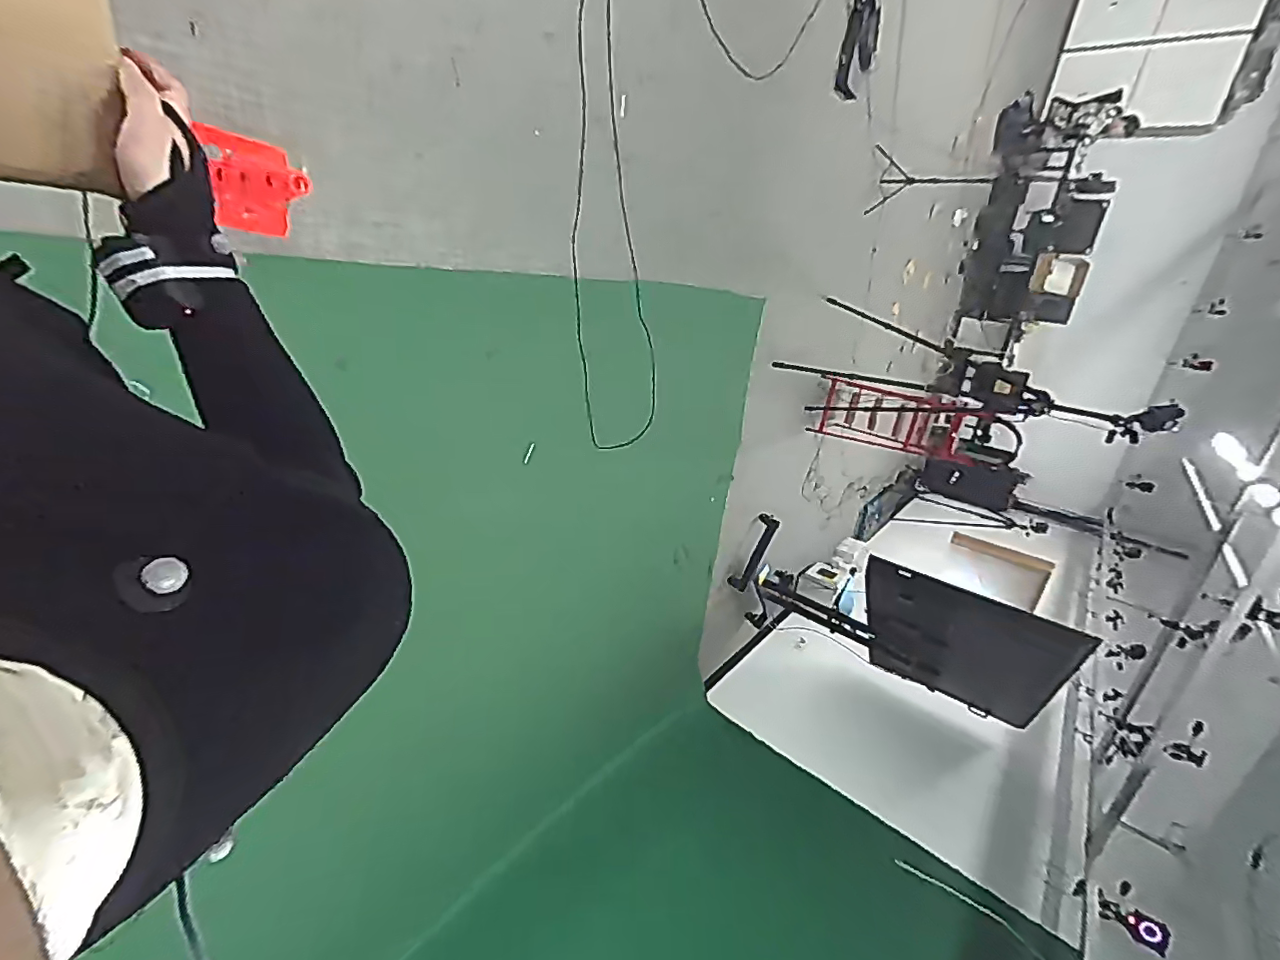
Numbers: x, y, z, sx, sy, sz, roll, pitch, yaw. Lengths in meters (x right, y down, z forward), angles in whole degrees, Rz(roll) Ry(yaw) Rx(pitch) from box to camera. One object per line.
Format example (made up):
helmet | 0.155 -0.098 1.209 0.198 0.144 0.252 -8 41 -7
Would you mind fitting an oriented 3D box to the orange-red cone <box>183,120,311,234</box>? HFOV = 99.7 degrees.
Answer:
orange-red cone | -0.794 -0.632 1.150 0.199 0.360 0.198 -11 118 -52
